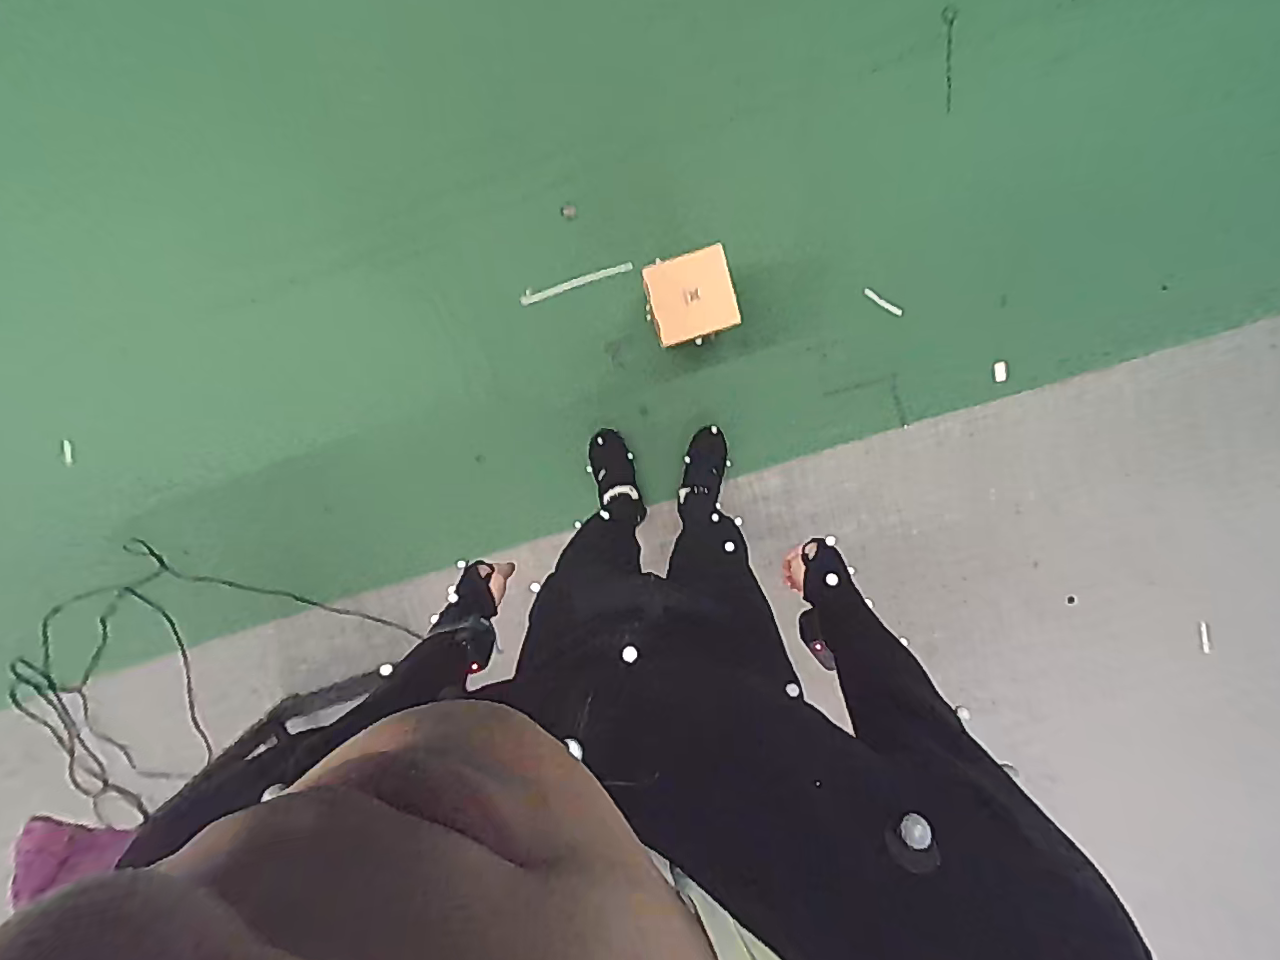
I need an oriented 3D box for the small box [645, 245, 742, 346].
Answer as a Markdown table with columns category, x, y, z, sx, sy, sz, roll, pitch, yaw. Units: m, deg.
| category | x | y | z | sx | sy | sz | roll | pitch | yaw |
| --- | --- | --- | --- | --- | --- | --- | --- | --- | --- |
| small box | 0.115 | -0.407 | 1.218 | 0.179 | 0.176 | 0.168 | -16 | 101 | 6 |
